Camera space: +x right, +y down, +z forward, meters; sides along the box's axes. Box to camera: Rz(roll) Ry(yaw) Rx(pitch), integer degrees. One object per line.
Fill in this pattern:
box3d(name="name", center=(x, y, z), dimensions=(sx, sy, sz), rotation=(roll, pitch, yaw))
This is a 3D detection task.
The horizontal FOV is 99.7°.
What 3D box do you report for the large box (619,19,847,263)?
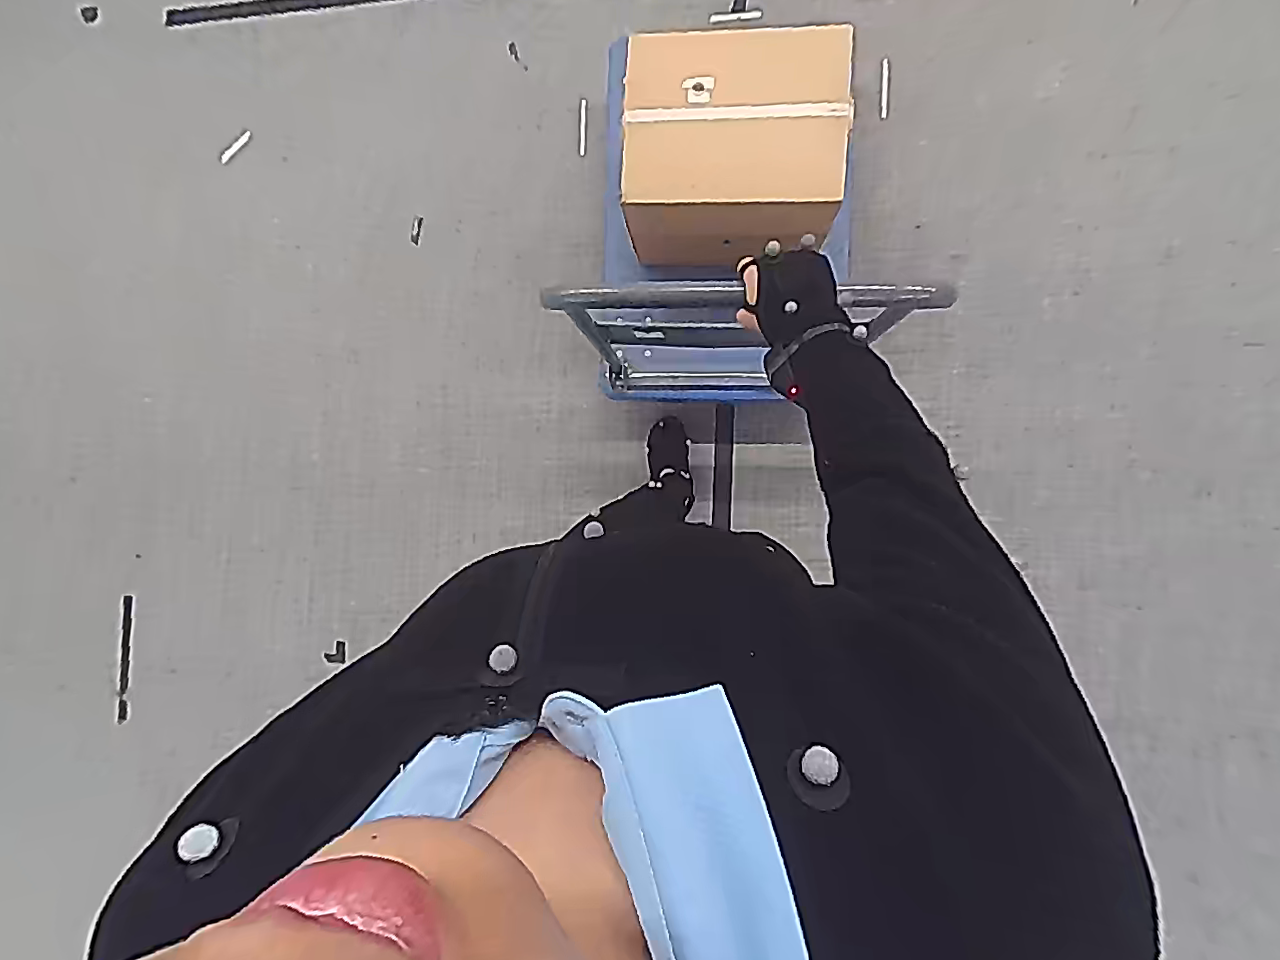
box3d(name="large box", center=(0.185, -0.660, 1.117), dimensions=(0.408, 0.320, 0.320), rotation=(3, 90, 8))
